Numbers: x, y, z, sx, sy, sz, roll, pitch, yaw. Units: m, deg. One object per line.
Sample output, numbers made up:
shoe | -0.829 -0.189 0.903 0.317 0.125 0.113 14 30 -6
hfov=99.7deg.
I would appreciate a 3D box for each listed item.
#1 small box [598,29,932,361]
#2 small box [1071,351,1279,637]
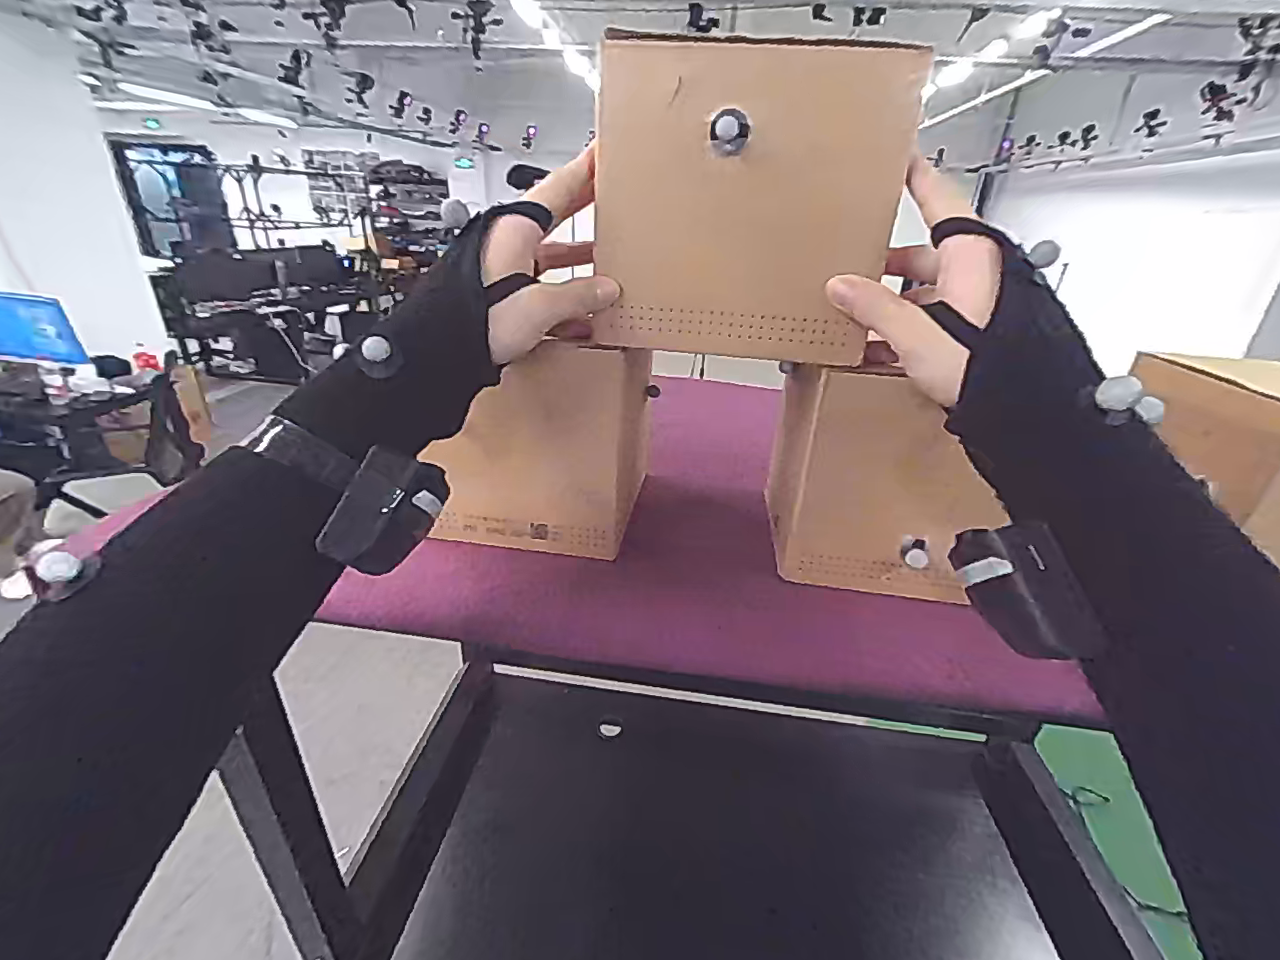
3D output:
small box | 0.070 -0.186 0.385 0.179 0.176 0.168 7 25 6
small box | 0.484 0.010 0.410 0.168 0.176 0.179 8 26 10
